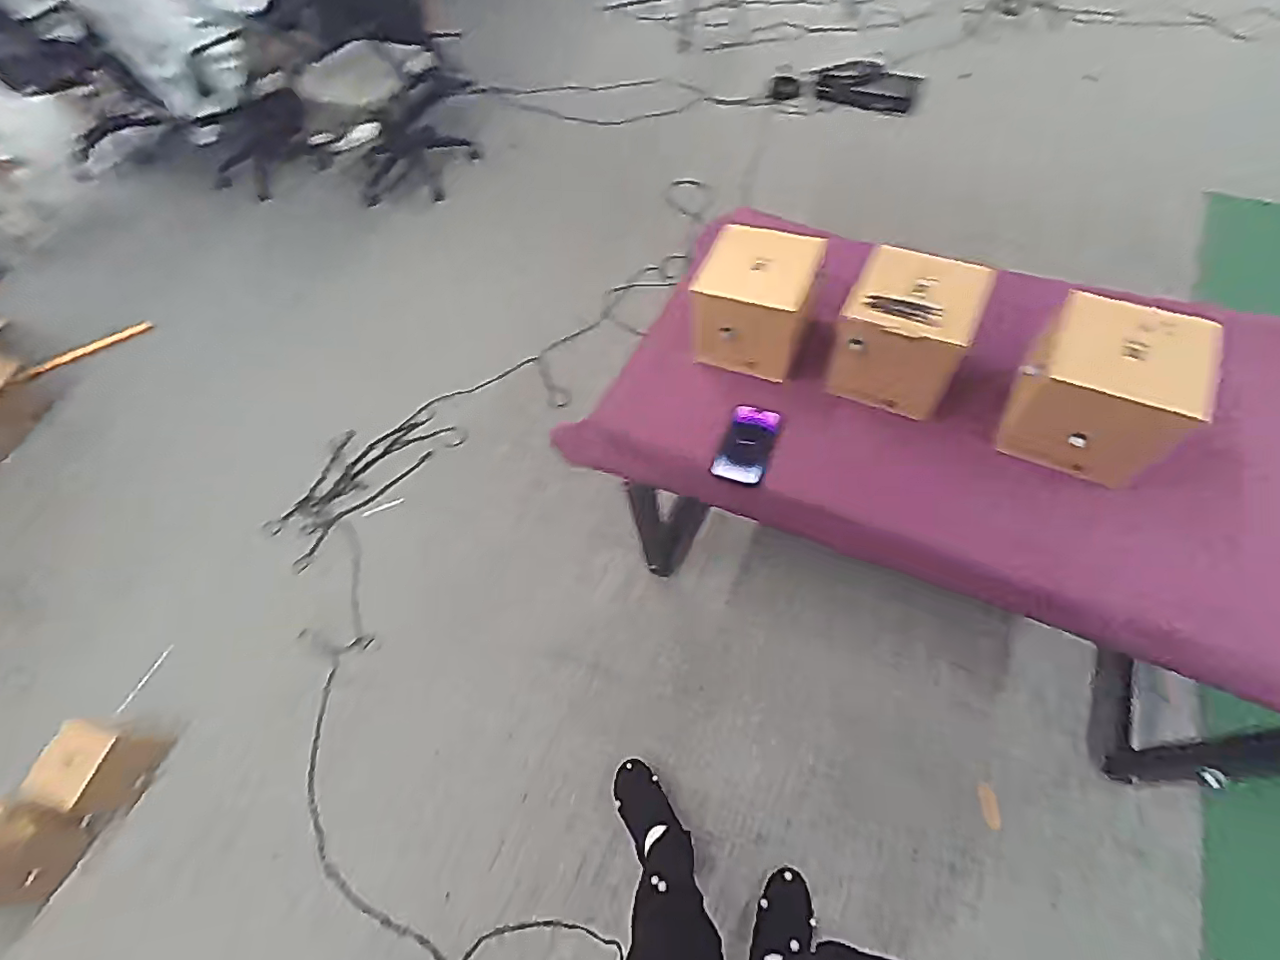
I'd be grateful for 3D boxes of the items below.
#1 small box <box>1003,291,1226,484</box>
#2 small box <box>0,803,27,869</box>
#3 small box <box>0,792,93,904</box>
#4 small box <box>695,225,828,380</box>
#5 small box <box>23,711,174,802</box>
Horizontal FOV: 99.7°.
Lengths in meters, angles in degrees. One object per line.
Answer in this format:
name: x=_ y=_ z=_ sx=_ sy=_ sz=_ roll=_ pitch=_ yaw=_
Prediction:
small box: x=0.640 y=-0.122 z=0.750 sx=0.168 sy=0.176 sz=0.179 roll=25 pitch=65 yaw=21
small box: x=-1.507 y=0.799 z=1.155 sx=0.179 sy=0.176 sz=0.168 roll=20 pitch=64 yaw=20
small box: x=-1.486 y=0.878 z=1.297 sx=0.168 sy=0.176 sz=0.179 roll=19 pitch=64 yaw=19
small box: x=0.205 y=-0.299 z=0.923 sx=0.168 sy=0.176 sz=0.179 roll=19 pitch=63 yaw=19
small box: x=-1.372 y=0.710 z=1.384 sx=0.179 sy=0.176 sz=0.168 roll=11 pitch=62 yaw=14
